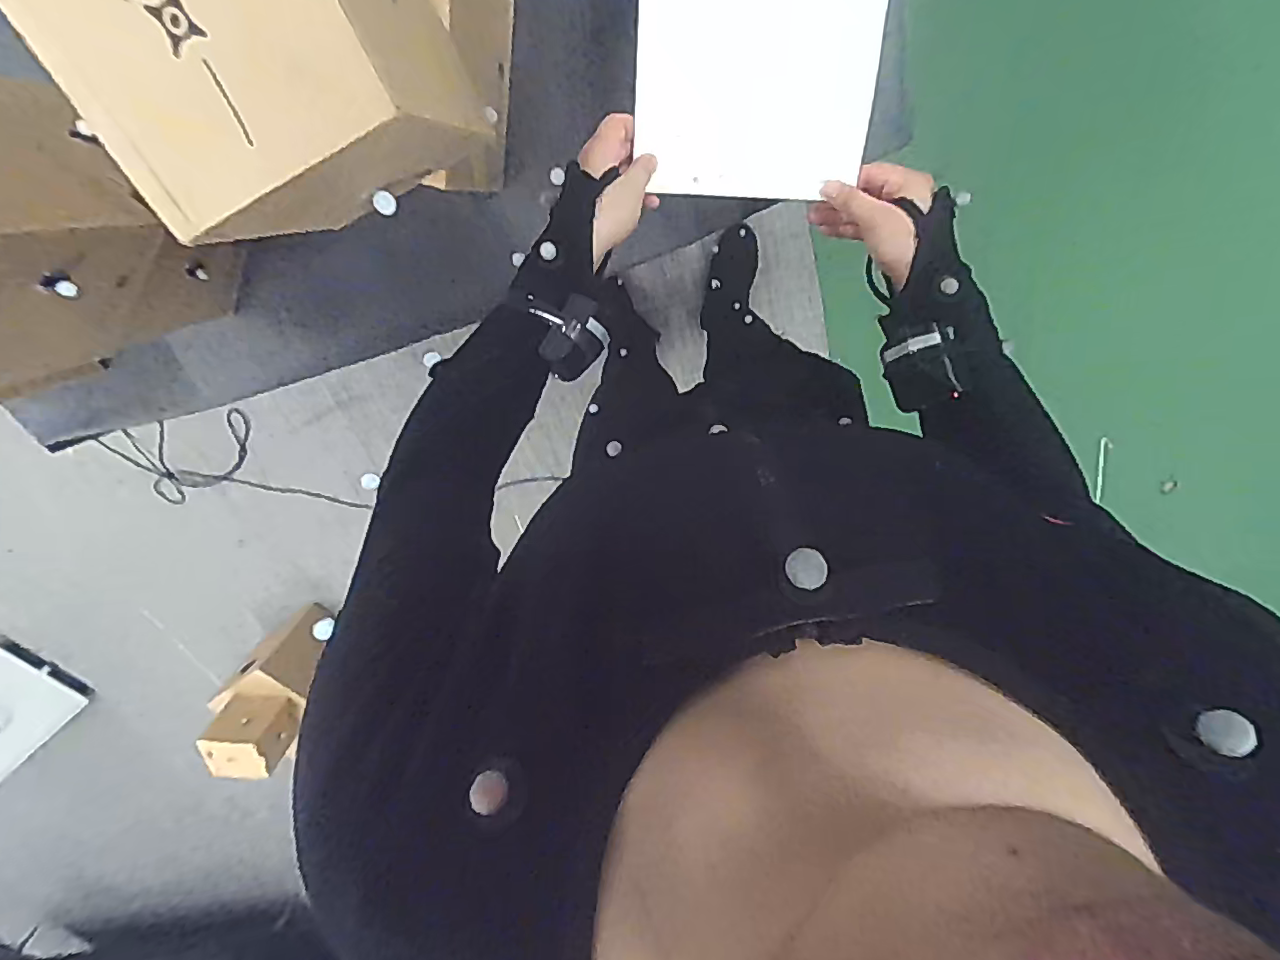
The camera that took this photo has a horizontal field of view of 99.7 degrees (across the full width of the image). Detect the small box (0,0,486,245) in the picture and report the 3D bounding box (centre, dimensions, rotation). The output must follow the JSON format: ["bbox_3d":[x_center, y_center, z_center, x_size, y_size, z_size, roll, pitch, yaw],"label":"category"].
[{"bbox_3d":[-0.228,-0.271,0.339,0.168,0.176,0.179,-19,116,15],"label":"small box"}]

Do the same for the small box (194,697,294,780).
[{"bbox_3d":[-1.203,0.793,1.664,0.179,0.176,0.168,4,118,-1],"label":"small box"}]

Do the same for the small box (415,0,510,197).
[{"bbox_3d":[-0.224,-0.361,0.477,0.179,0.176,0.168,12,118,-1],"label":"small box"}]

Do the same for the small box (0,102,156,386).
[{"bbox_3d":[-0.536,-0.185,0.409,0.179,0.176,0.168,41,113,-16],"label":"small box"}]

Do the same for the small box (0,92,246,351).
[{"bbox_3d":[-0.544,-0.264,0.552,0.179,0.176,0.168,30,116,-12],"label":"small box"}]
